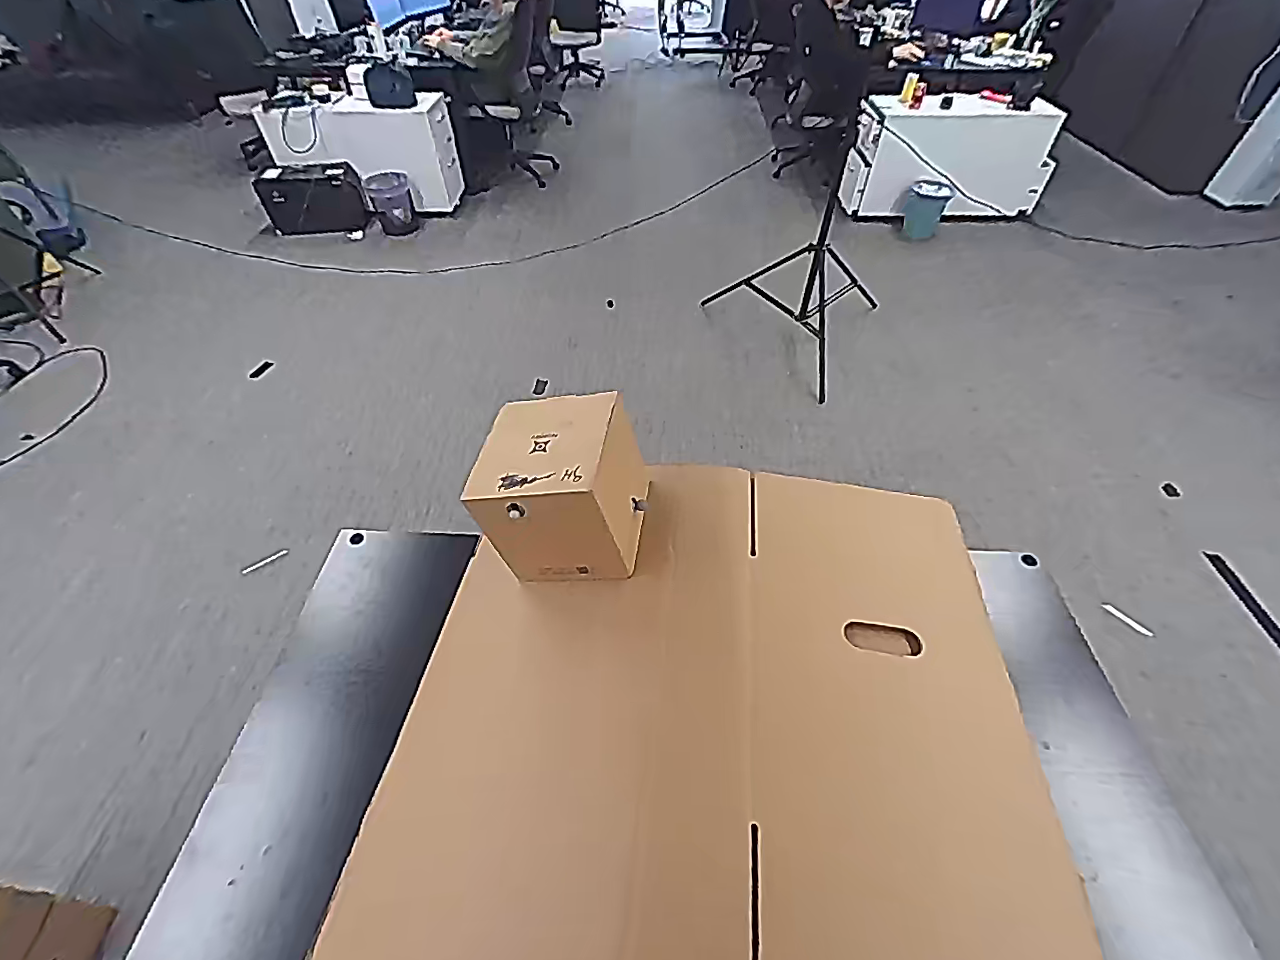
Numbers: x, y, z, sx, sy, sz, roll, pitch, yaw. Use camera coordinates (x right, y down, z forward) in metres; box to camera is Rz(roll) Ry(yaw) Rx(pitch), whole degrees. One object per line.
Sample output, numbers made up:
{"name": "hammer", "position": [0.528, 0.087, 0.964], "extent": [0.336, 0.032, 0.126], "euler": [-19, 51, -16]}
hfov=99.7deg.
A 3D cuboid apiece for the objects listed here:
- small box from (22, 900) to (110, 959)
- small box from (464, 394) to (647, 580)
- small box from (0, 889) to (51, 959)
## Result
{"name": "small box", "position": [-1.212, 0.942, 1.057], "extent": [0.168, 0.176, 0.179], "euler": [-2, 48, -1]}
{"name": "small box", "position": [-0.094, 0.012, 0.708], "extent": [0.168, 0.176, 0.179], "euler": [-5, 45, 16]}
{"name": "small box", "position": [-1.214, 0.829, 0.940], "extent": [0.168, 0.176, 0.179], "euler": [-3, 47, -4]}
